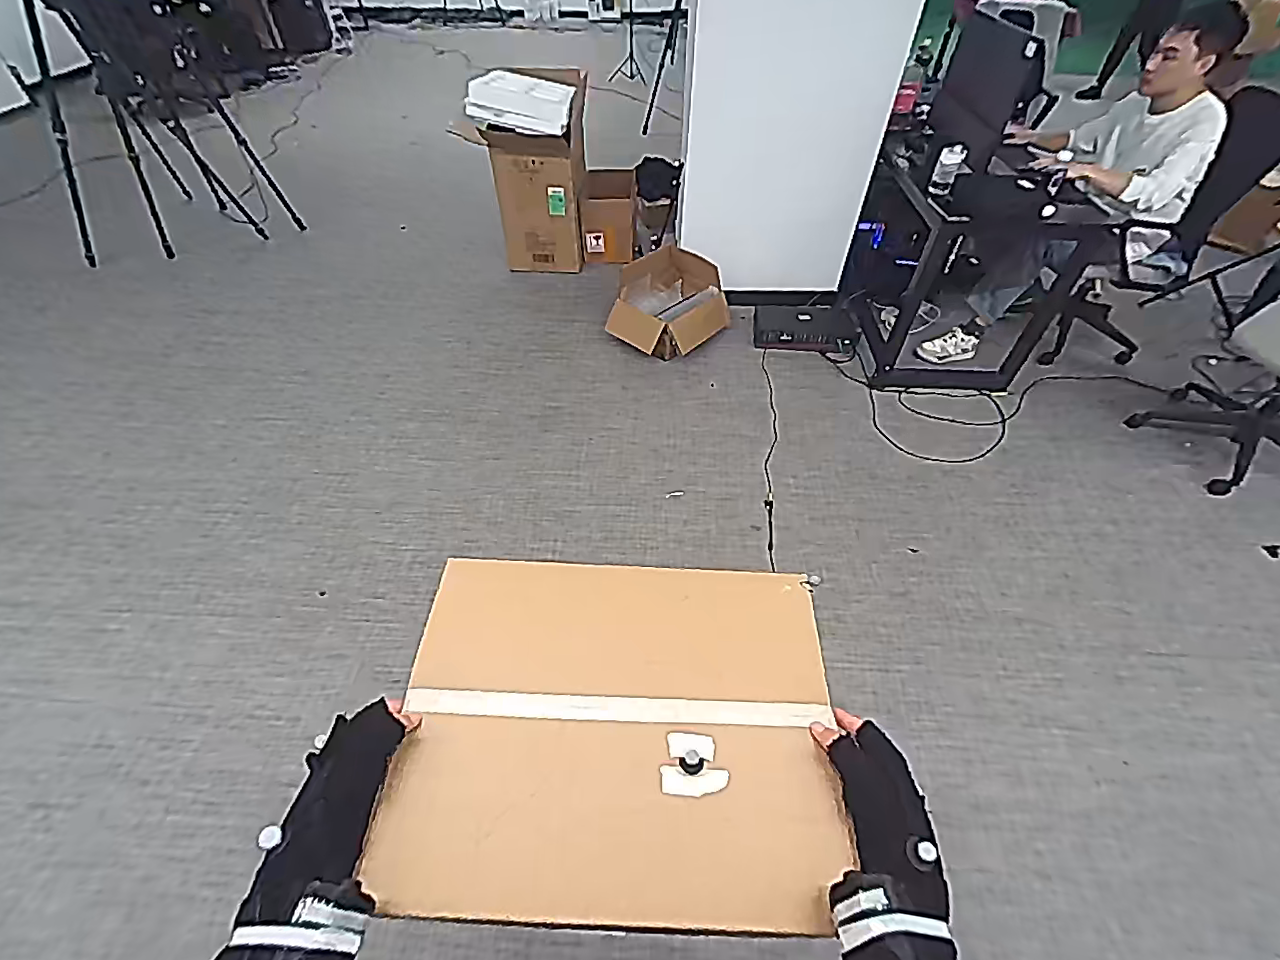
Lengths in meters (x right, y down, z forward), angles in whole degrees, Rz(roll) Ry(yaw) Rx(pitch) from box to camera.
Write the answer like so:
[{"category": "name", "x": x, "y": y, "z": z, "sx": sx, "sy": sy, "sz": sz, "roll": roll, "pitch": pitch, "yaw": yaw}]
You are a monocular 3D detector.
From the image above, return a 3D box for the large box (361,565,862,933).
[{"category": "large box", "x": -0.024, "y": 0.318, "z": 0.629, "sx": 0.408, "sy": 0.320, "sz": 0.320, "roll": 3, "pitch": 50, "yaw": 0}]
